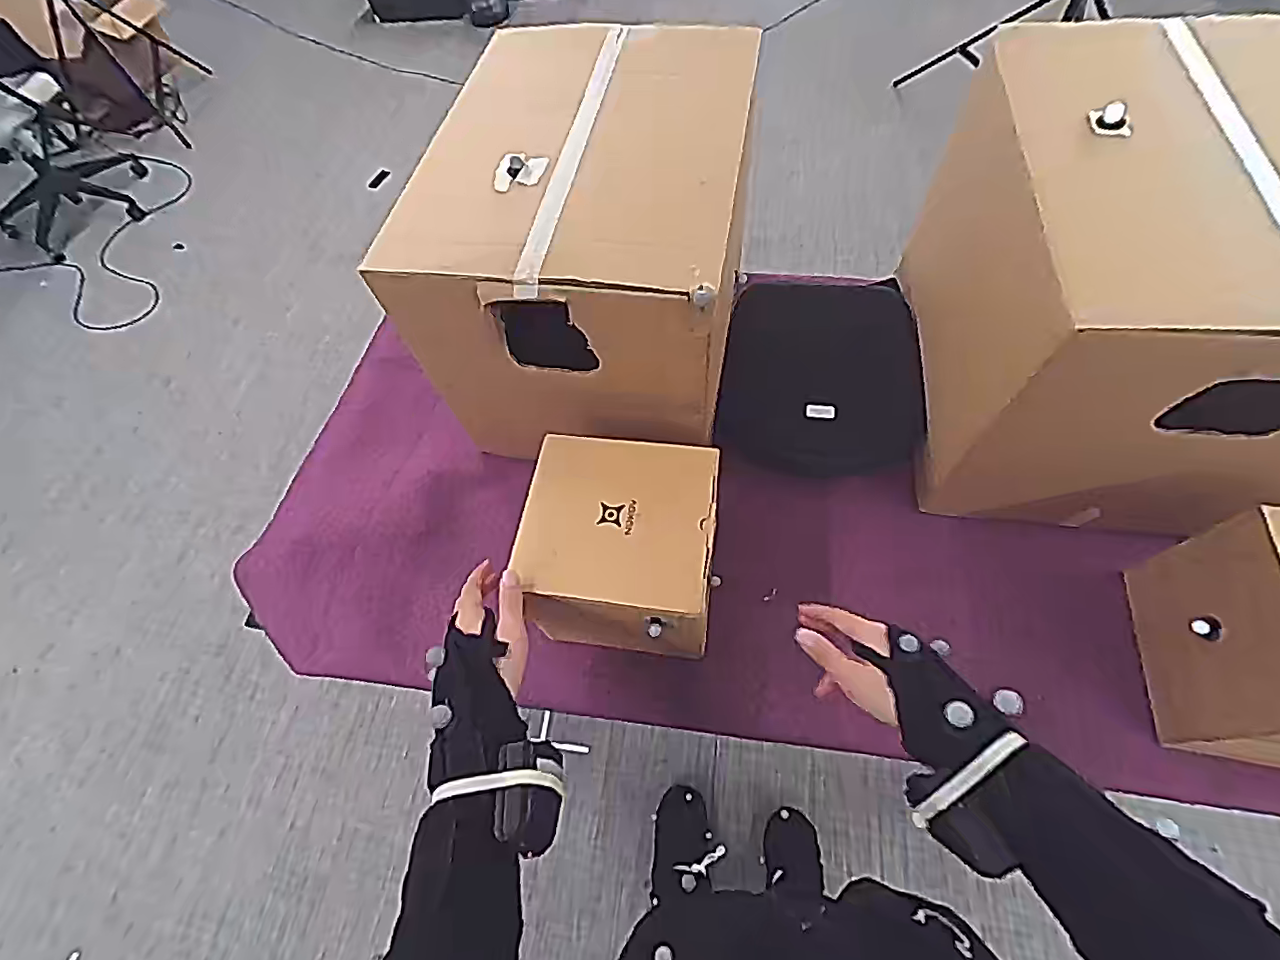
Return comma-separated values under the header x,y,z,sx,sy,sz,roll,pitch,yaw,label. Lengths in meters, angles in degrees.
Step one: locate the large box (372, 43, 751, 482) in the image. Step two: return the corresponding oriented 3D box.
x,y,z,sx,sy,sz,roll,pitch,yaw,label
-0.047,-0.254,0.671,0.320,0.320,0.408,7,65,10,large box
